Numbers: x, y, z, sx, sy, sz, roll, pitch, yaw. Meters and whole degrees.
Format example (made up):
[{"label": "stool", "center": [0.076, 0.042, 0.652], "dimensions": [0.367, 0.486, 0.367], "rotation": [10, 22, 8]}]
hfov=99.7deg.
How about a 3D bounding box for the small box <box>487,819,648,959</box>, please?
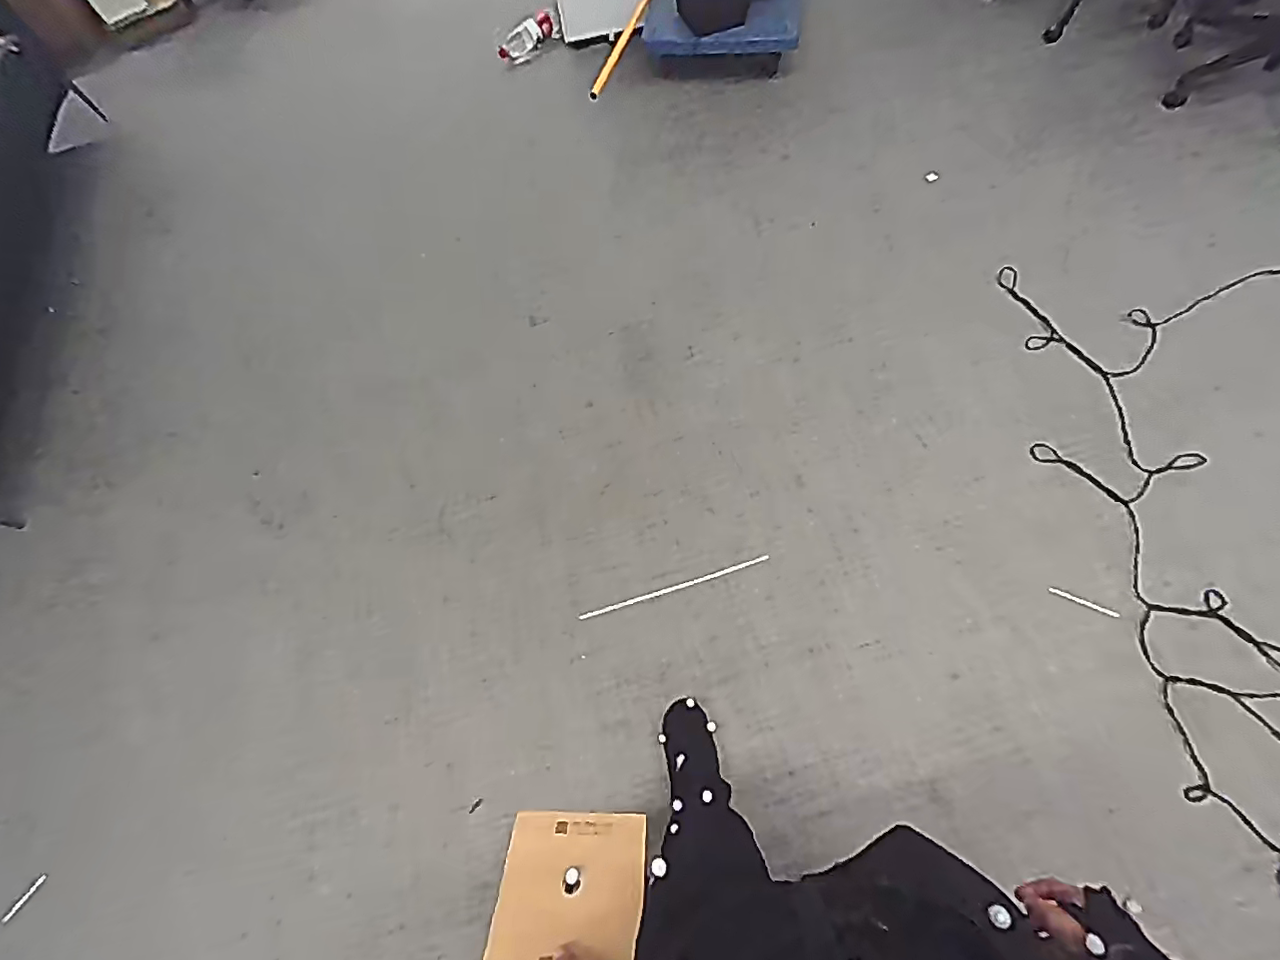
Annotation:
[{"label": "small box", "center": [-0.077, 0.536, 0.647], "dimensions": [0.168, 0.179, 0.176], "rotation": [0, 29, 3]}]
